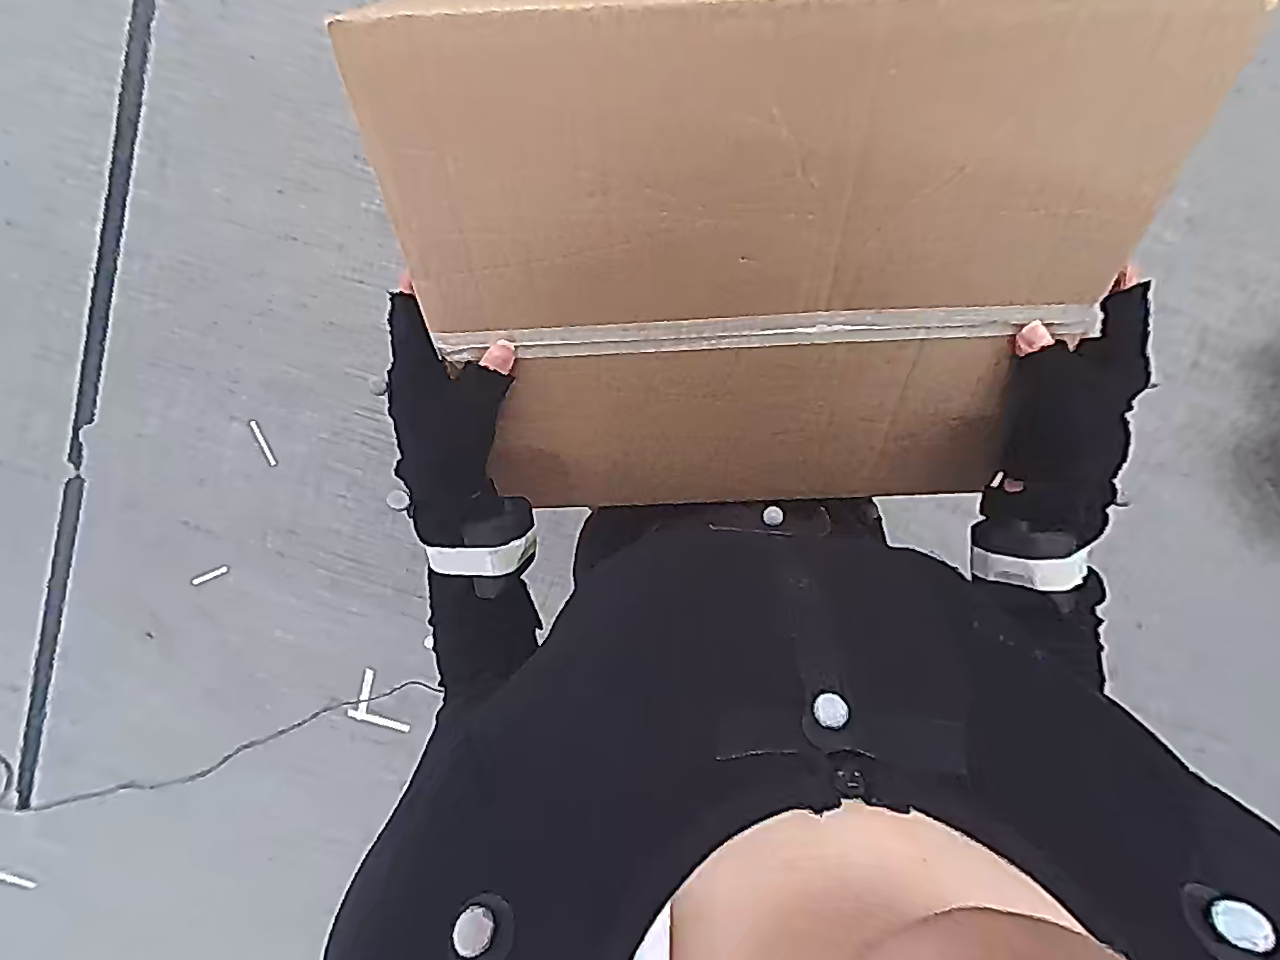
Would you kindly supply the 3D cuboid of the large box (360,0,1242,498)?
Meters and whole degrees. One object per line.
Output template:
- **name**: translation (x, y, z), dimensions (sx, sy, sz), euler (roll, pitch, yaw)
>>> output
- **large box**: translation (0.070, -0.207, 0.449), dimensions (0.408, 0.320, 0.320), euler (-2, 136, 0)
